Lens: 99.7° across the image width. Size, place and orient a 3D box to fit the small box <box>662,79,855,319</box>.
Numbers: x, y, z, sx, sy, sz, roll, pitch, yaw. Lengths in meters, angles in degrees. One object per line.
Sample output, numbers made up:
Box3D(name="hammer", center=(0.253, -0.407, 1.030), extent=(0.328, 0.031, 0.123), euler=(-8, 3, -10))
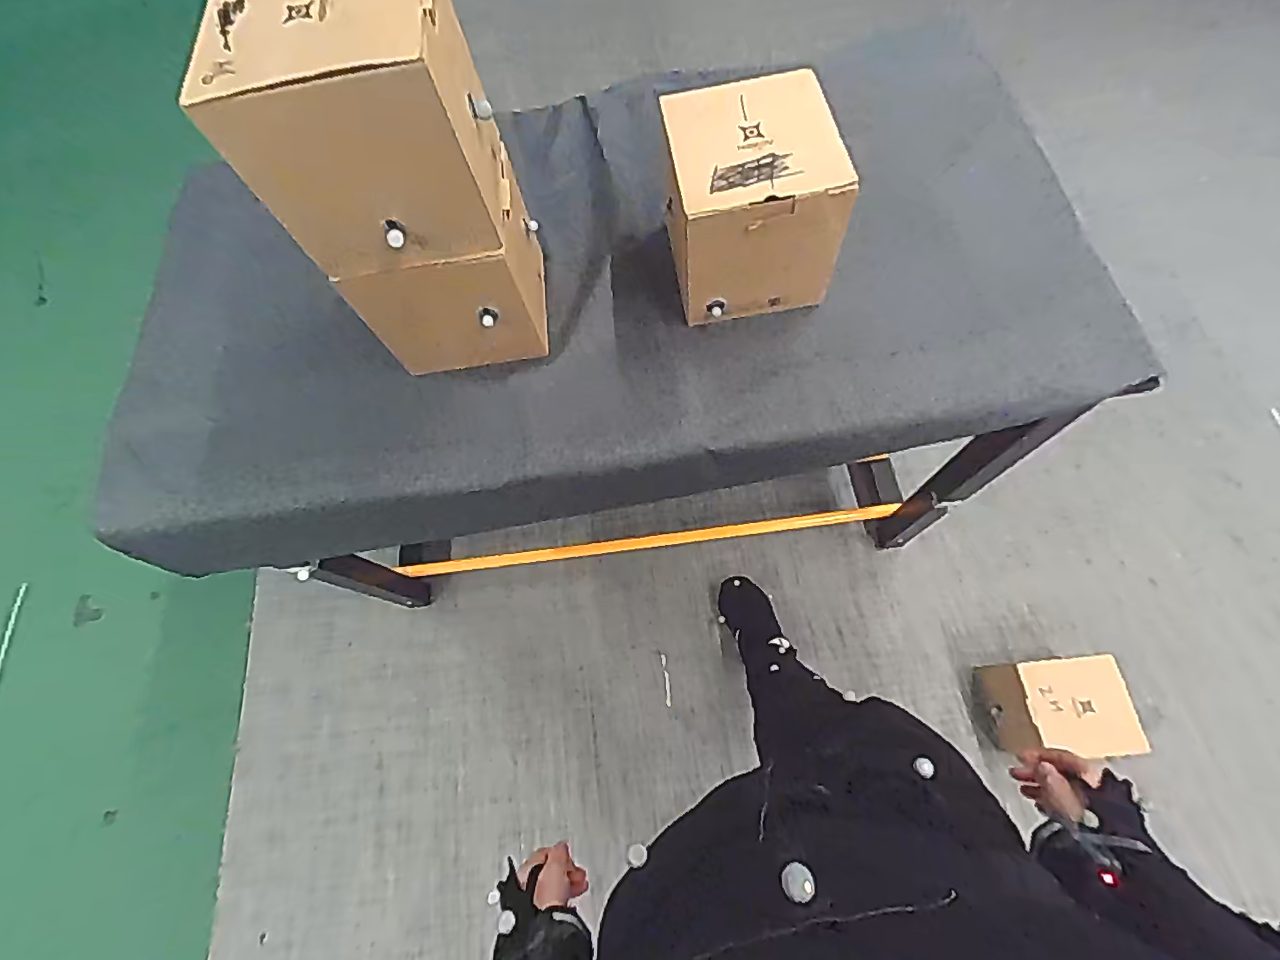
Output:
Box3D(name="small box", center=(0.122, -0.305, 0.618), extent=(0.168, 0.176, 0.179), euler=(-9, 66, 2))

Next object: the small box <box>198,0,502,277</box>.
Box3D(name="small box", center=(-0.228, -0.310, 0.480), extent=(0.179, 0.176, 0.168), euler=(-9, 66, 1))

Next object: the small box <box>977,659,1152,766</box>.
Box3D(name="small box", center=(0.792, 0.439, 1.032), extent=(0.179, 0.176, 0.168), euler=(-7, 67, 3))

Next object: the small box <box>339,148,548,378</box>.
Box3D(name="small box", center=(-0.209, -0.240, 0.628), extent=(0.179, 0.176, 0.168), euler=(-8, 66, 3))
